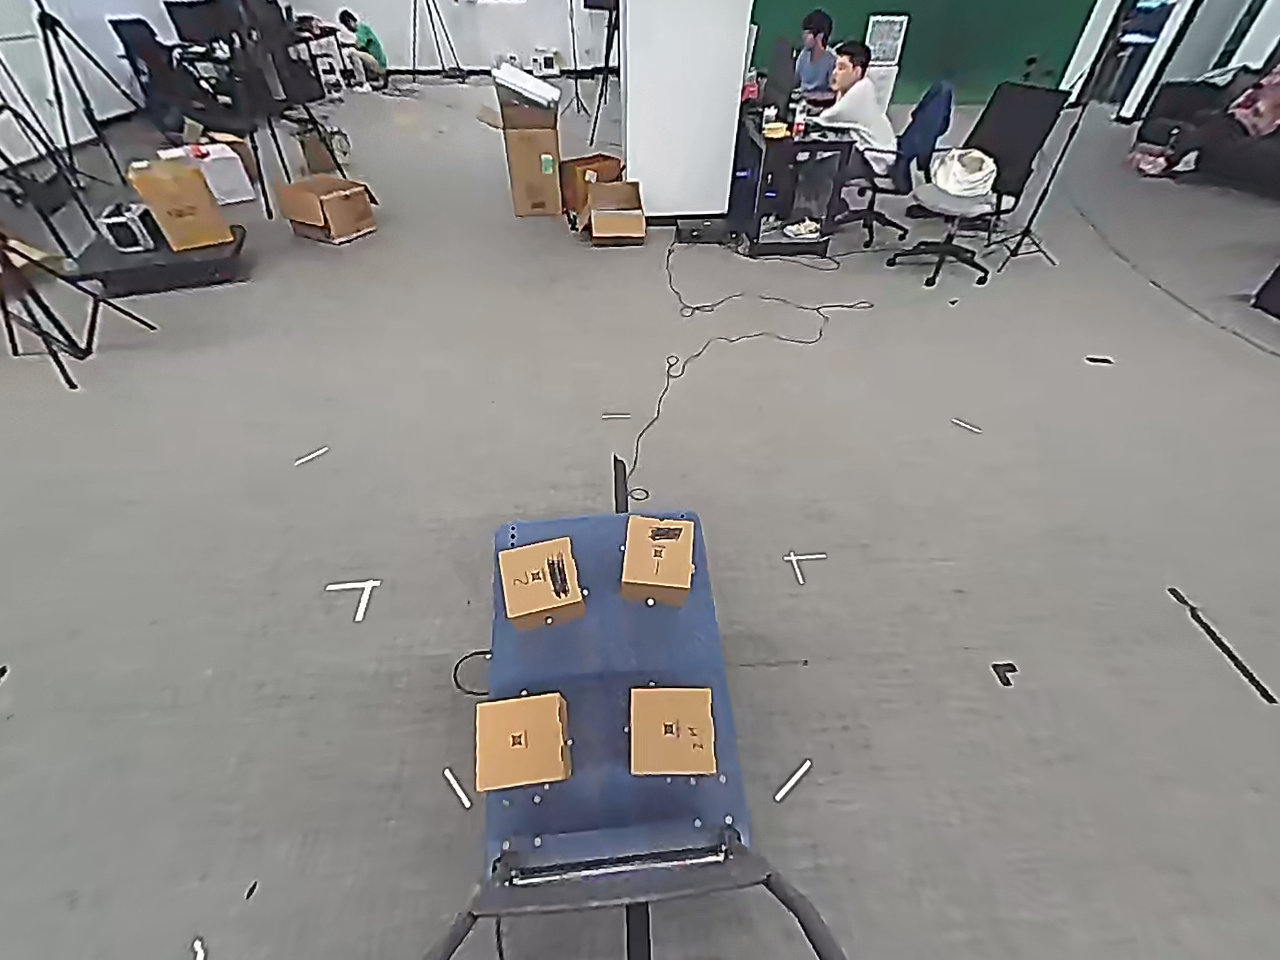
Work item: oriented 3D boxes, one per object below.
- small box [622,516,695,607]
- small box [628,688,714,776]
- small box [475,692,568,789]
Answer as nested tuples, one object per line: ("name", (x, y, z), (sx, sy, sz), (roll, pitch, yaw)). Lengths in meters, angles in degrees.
("small box", (0.045, 0.211, 1.386), (0.168, 0.176, 0.179), (6, 63, 1))
("small box", (0.064, 0.560, 1.197), (0.179, 0.176, 0.168), (1, 62, -1))
("small box", (-0.253, 0.571, 1.180), (0.179, 0.176, 0.168), (-5, 62, -7))
